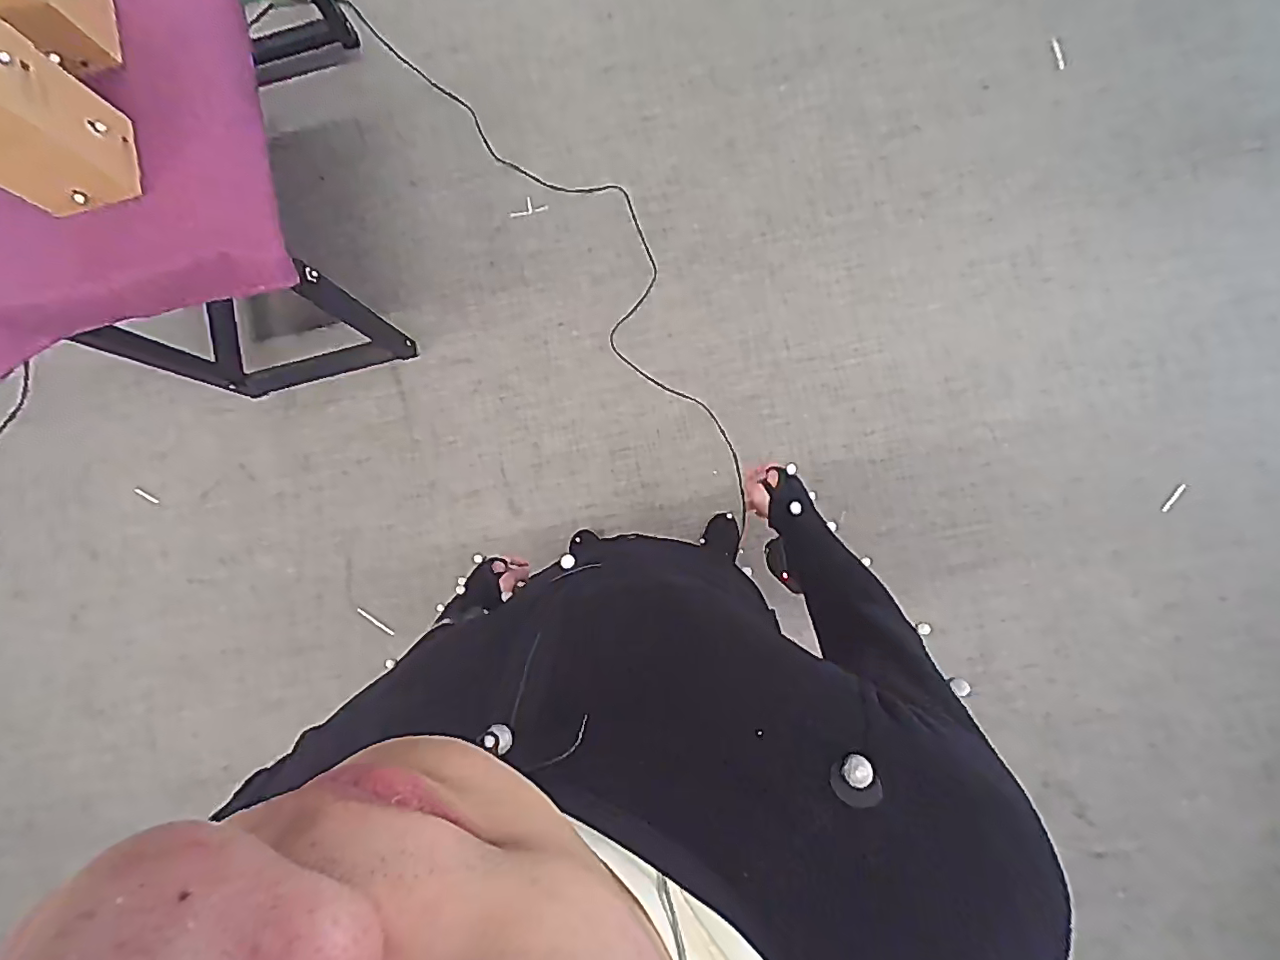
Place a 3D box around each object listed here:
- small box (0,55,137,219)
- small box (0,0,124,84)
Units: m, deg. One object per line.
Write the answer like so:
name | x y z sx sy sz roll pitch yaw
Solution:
small box | -1.066 -0.609 0.981 0.179 0.176 0.168 -14 83 2
small box | -1.129 -0.892 1.012 0.168 0.176 0.179 -14 85 3
